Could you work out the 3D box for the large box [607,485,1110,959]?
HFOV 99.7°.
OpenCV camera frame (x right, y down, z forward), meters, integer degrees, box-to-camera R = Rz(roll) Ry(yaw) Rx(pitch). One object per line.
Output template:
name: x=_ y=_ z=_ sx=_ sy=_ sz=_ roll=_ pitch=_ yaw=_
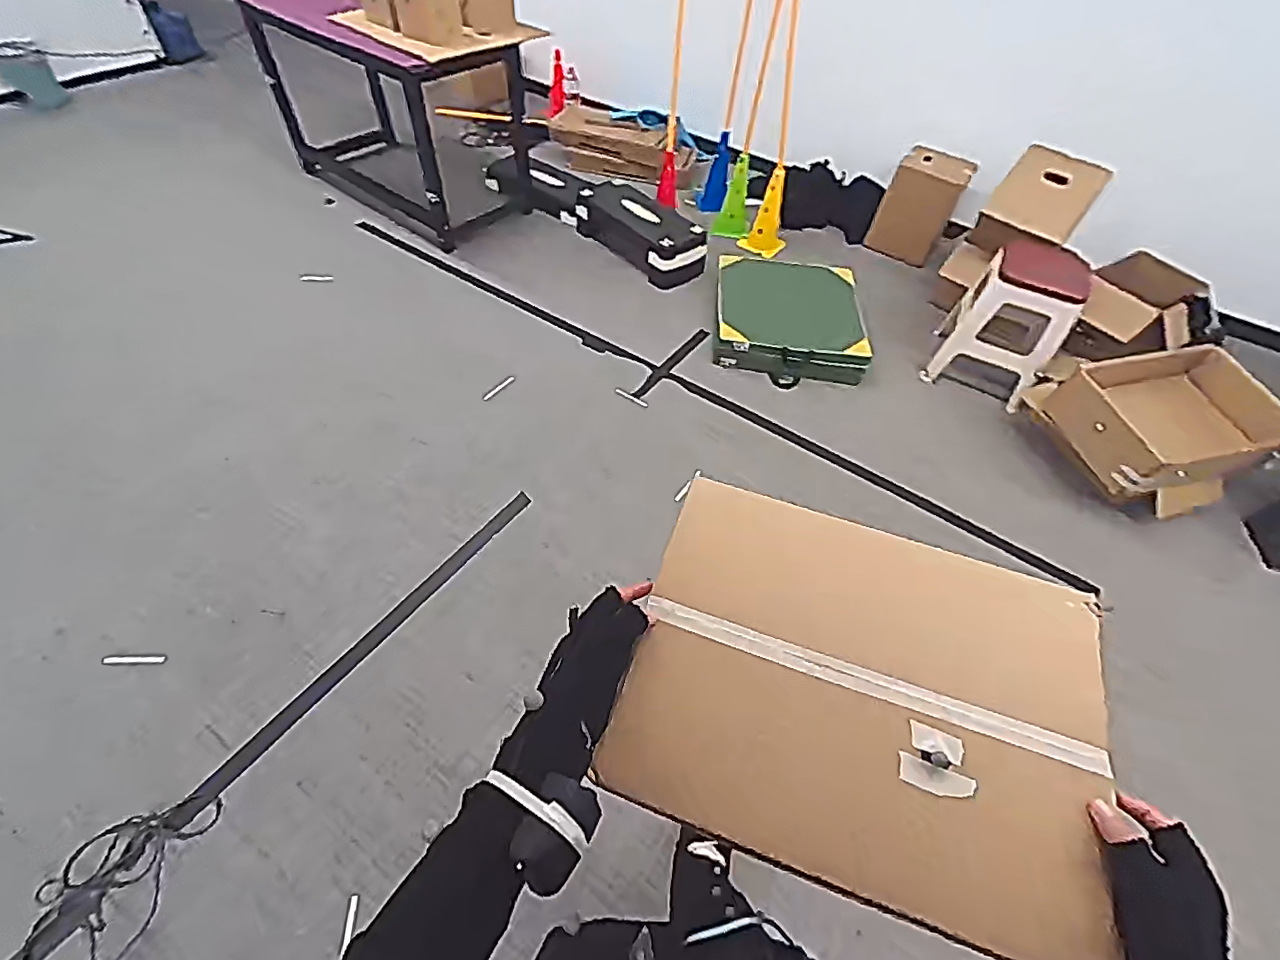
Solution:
large box: x=0.203 y=0.258 z=0.625 sx=0.408 sy=0.320 sz=0.320 roll=18 pitch=61 yaw=10
